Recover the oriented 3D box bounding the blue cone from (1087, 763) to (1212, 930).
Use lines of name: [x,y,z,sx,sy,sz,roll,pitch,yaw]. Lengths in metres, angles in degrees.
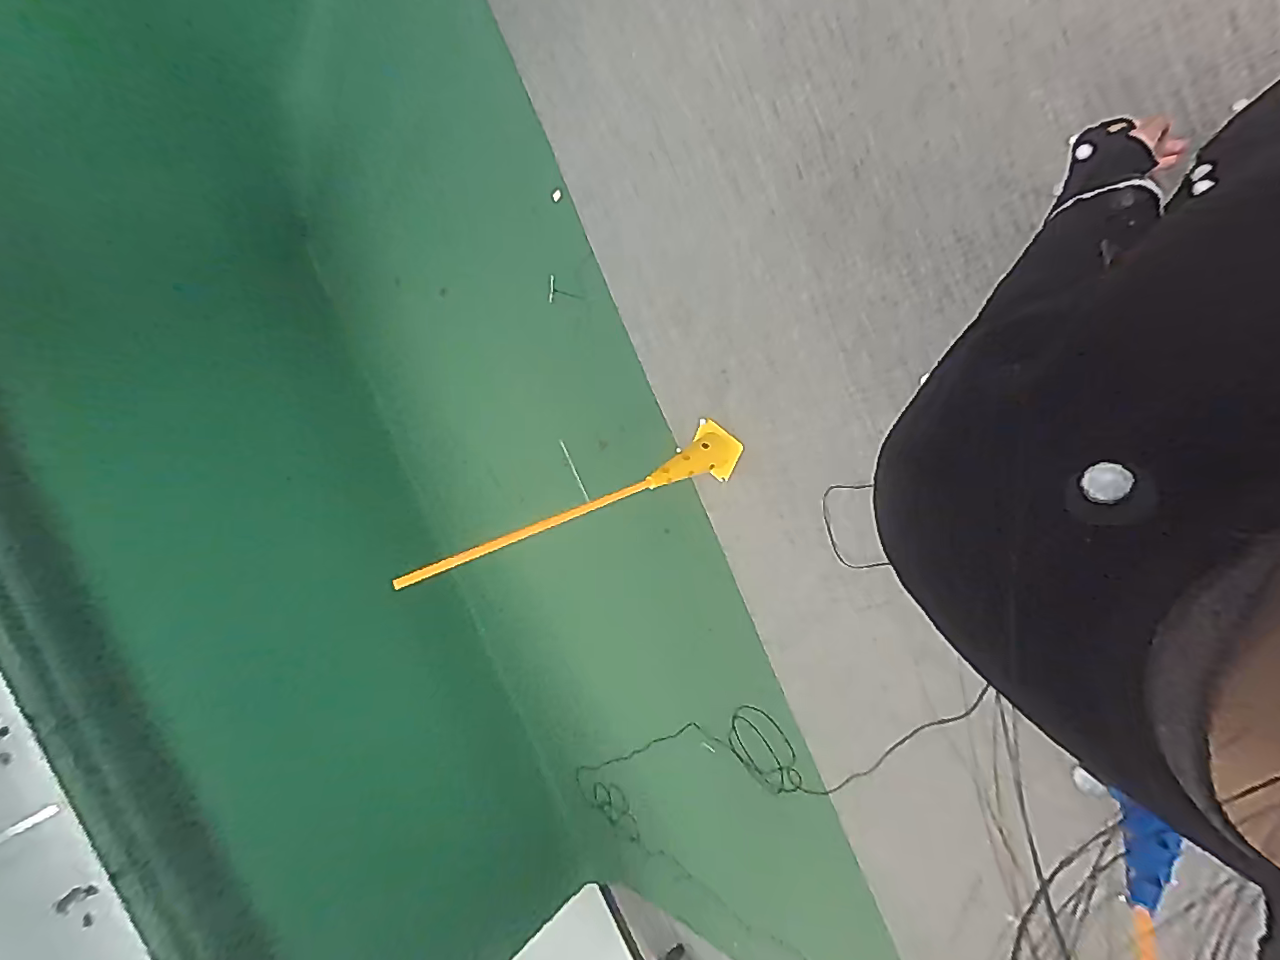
blue cone: [1.181,0.880,1.274,0.193,0.380,0.192,35,133,29]
